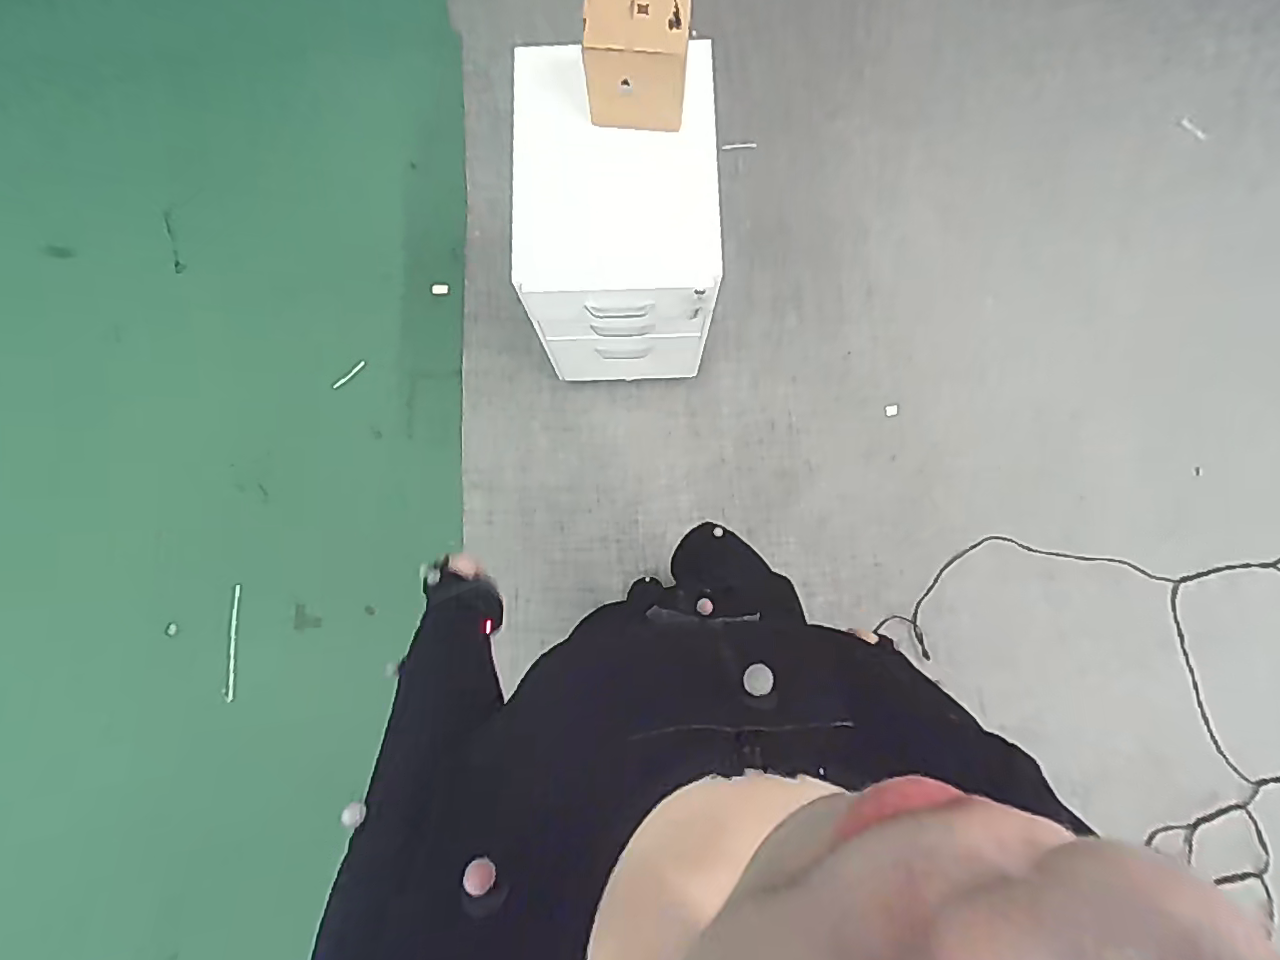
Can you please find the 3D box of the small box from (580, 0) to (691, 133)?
[{"bbox_3d":[-0.003,-0.769,0.984,0.179,0.176,0.168,6,82,2],"label":"small box"}]
